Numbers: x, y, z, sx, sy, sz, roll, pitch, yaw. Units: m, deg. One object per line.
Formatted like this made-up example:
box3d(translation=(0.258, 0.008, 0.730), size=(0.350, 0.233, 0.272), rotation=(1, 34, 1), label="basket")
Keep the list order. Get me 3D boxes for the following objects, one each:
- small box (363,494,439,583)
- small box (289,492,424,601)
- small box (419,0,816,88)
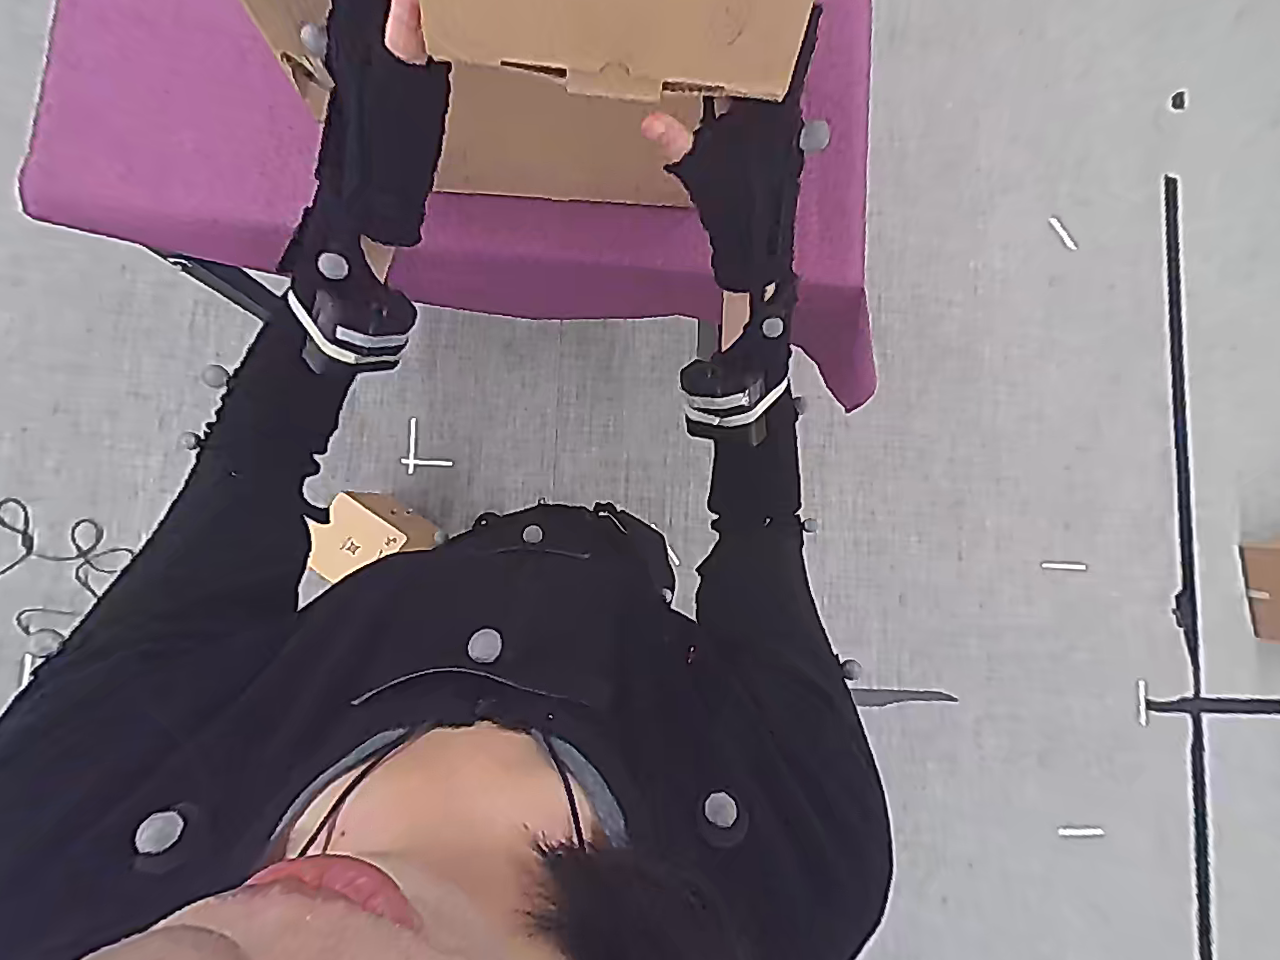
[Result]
box3d(translation=(-0.644, 0.154, 1.370), size=(0.179, 0.176, 0.168), rotation=(34, 83, -4), label="small box")
box3d(translation=(-0.620, 0.146, 1.208), size=(0.179, 0.176, 0.168), rotation=(36, 83, -3), label="small box")
box3d(translation=(-0.006, -0.299, 0.225), size=(0.168, 0.179, 0.176), rotation=(0, 49, -8), label="small box")
